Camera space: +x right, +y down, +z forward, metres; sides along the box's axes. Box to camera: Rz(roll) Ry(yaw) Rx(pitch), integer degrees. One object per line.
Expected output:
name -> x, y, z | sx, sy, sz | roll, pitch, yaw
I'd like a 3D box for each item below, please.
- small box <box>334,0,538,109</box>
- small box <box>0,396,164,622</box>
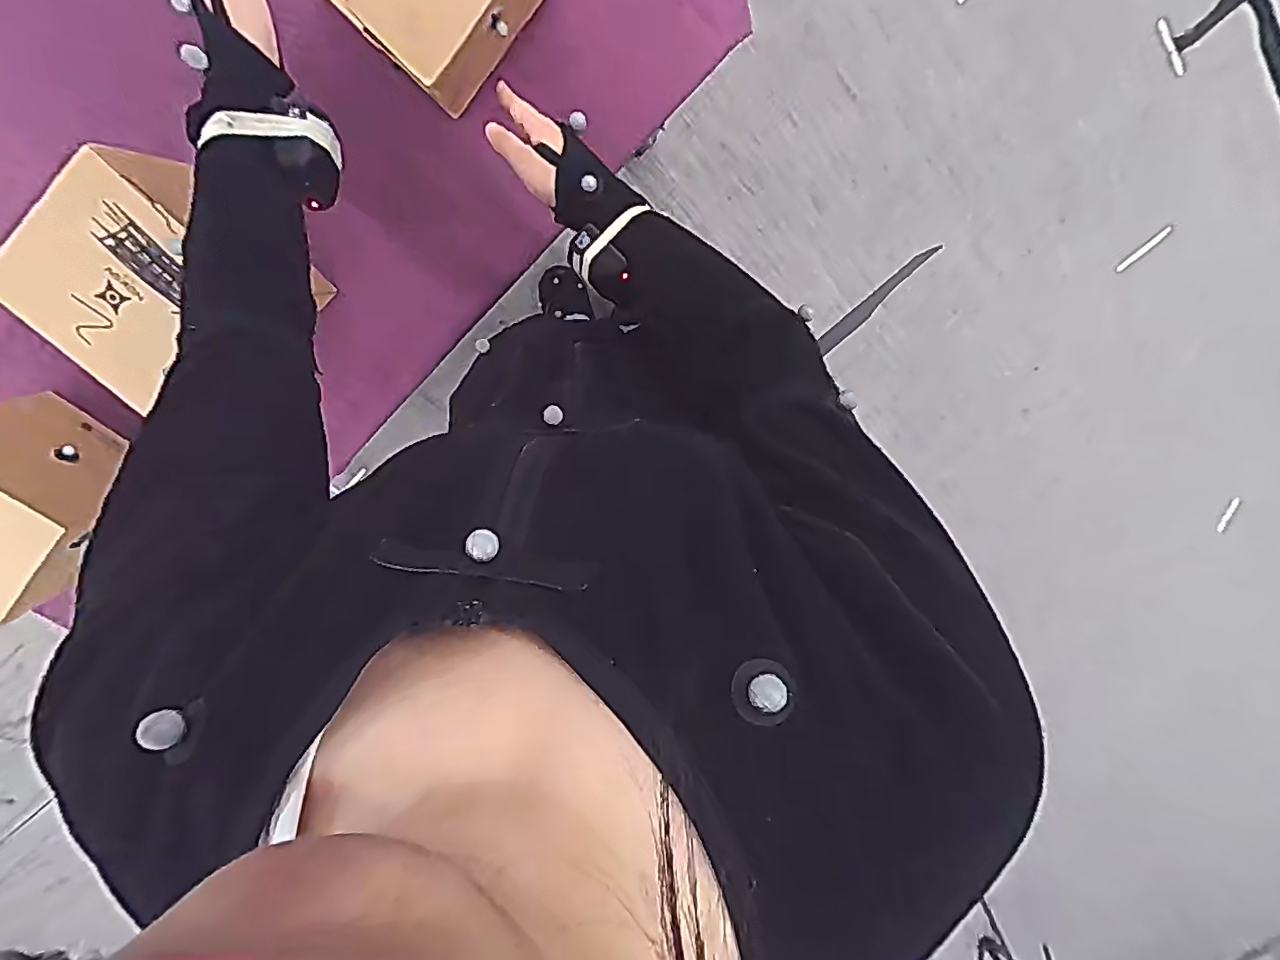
small box -> -0.187, -0.465, 0.468 | 0.168, 0.176, 0.179 | 37, 105, -26
small box -> -0.722, 0.026, 0.632 | 0.168, 0.176, 0.179 | 42, 103, -17
